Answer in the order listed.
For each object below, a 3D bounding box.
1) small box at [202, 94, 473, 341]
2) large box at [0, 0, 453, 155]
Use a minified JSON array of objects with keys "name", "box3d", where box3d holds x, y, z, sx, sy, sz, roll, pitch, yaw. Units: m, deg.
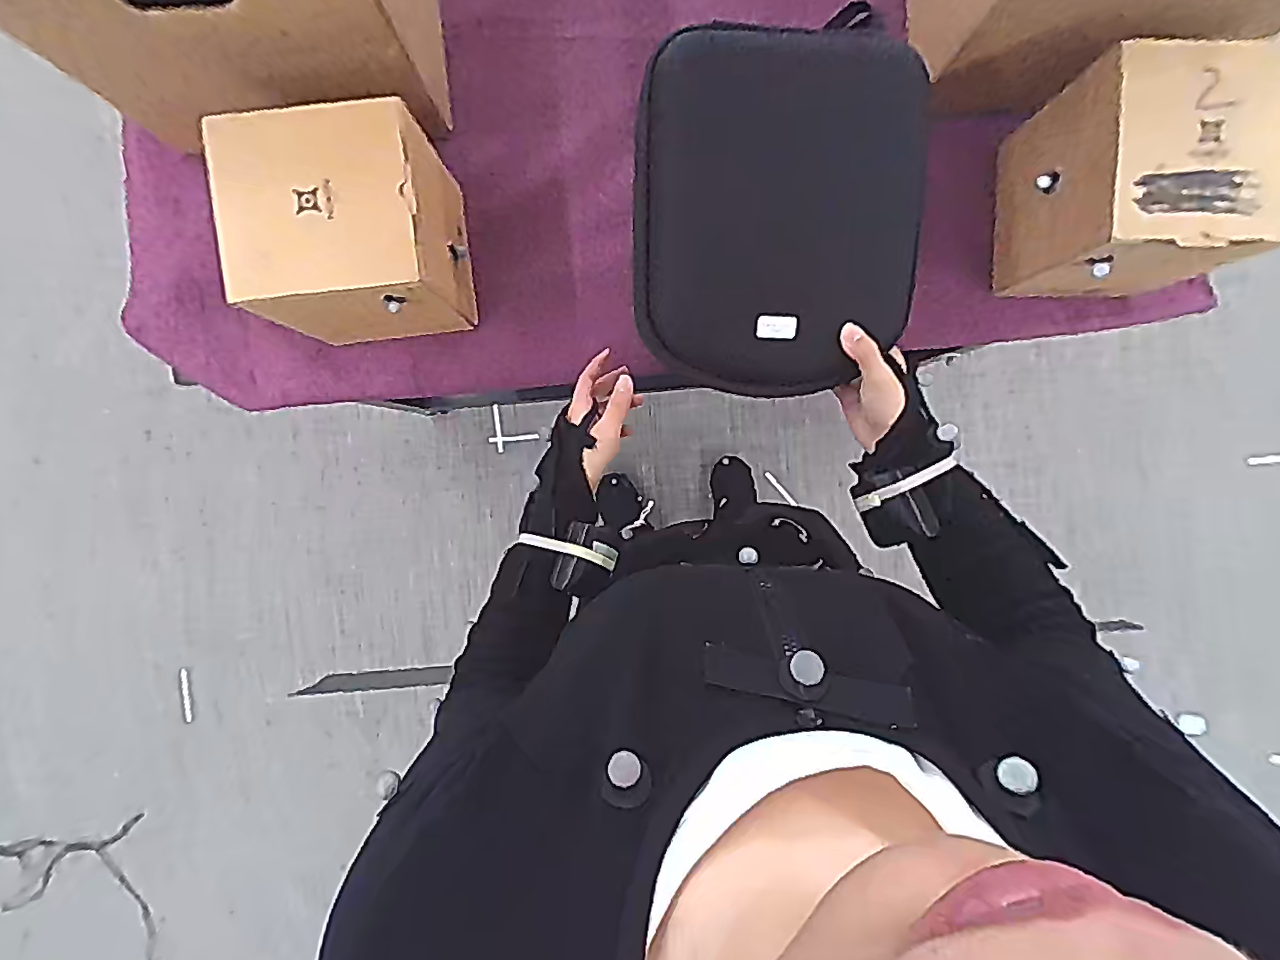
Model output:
[{"name":"small box","box3d":[-0.291,-0.251,0.558,0.179,0.176,0.168,-8,92,-1]},{"name":"large box","box3d":[-0.382,-0.575,0.469,0.320,0.320,0.408,-6,95,-1]}]
